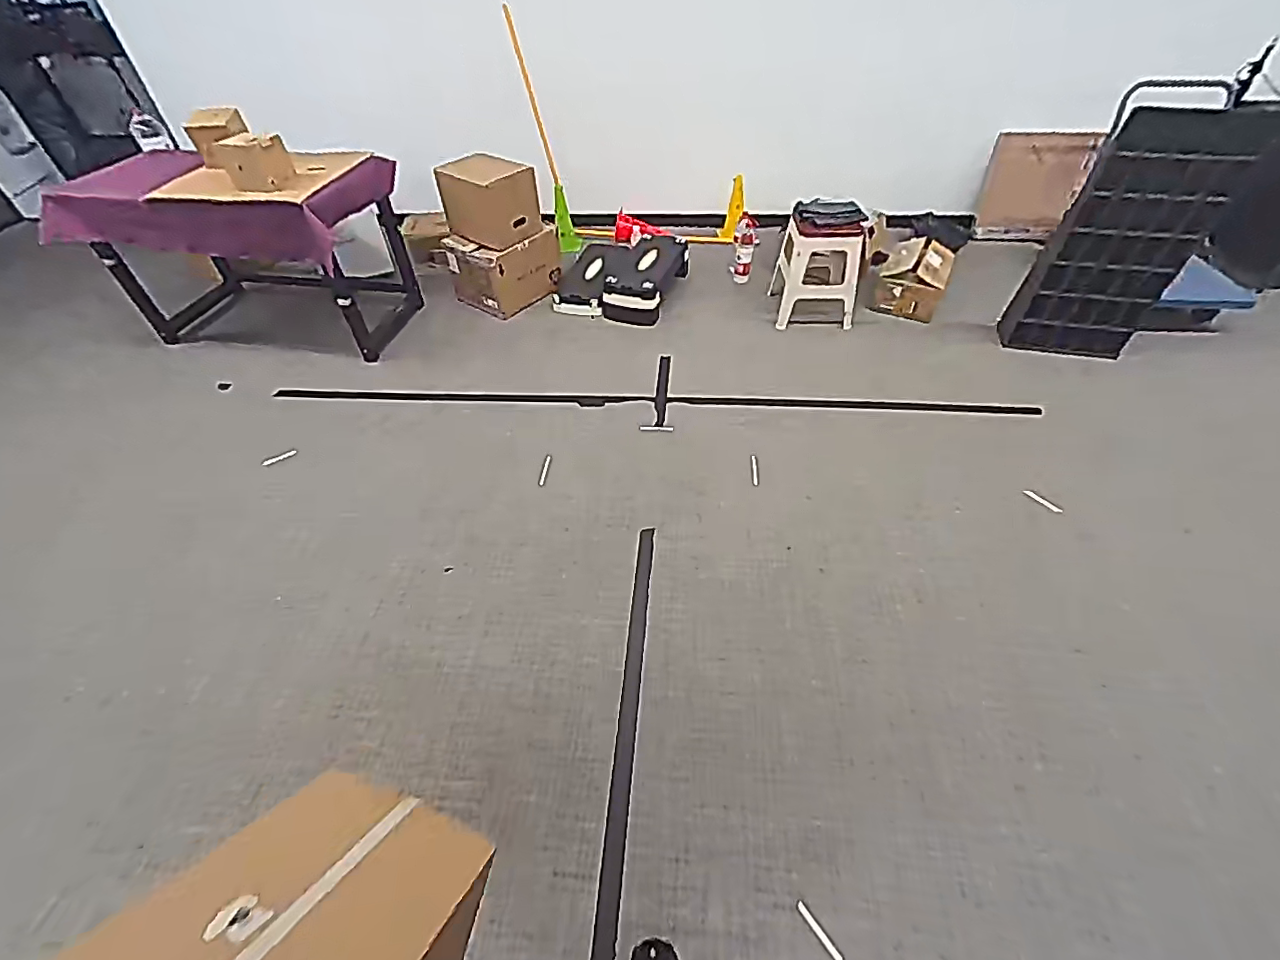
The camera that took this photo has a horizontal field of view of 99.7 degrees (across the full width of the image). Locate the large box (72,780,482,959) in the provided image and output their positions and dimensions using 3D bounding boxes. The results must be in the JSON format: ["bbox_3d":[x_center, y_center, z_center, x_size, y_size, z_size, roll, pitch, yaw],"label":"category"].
[{"bbox_3d":[-0.465,0.687,0.692,0.320,0.408,0.320,16,92,11],"label":"large box"}]
